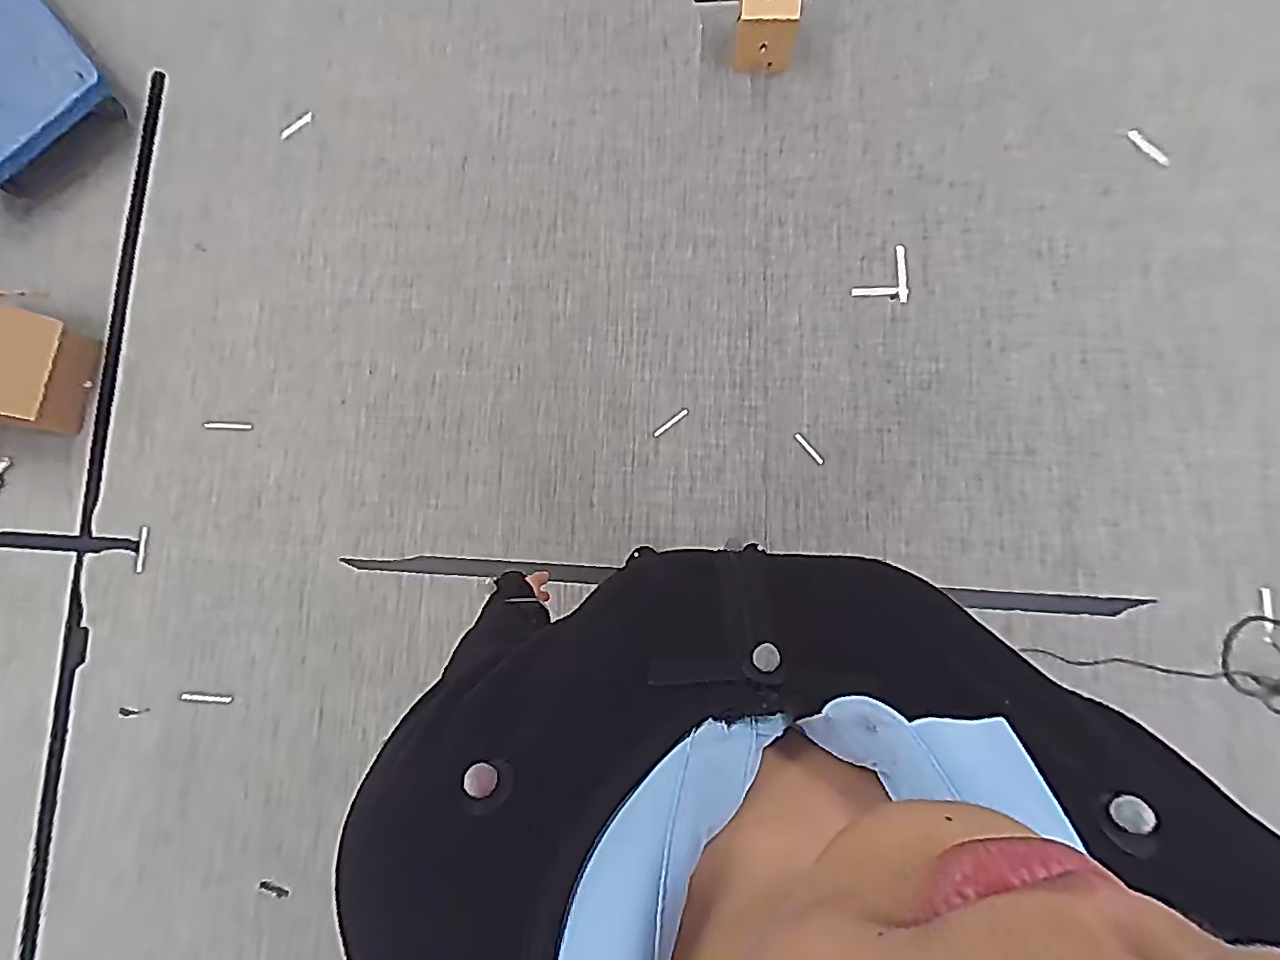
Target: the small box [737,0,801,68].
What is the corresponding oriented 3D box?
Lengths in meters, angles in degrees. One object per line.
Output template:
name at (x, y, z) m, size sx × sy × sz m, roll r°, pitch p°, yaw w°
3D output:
small box at (0.381, -1.367, 1.604) m, size 0.168 × 0.176 × 0.179 m, roll 4°, pitch 83°, yaw 5°
